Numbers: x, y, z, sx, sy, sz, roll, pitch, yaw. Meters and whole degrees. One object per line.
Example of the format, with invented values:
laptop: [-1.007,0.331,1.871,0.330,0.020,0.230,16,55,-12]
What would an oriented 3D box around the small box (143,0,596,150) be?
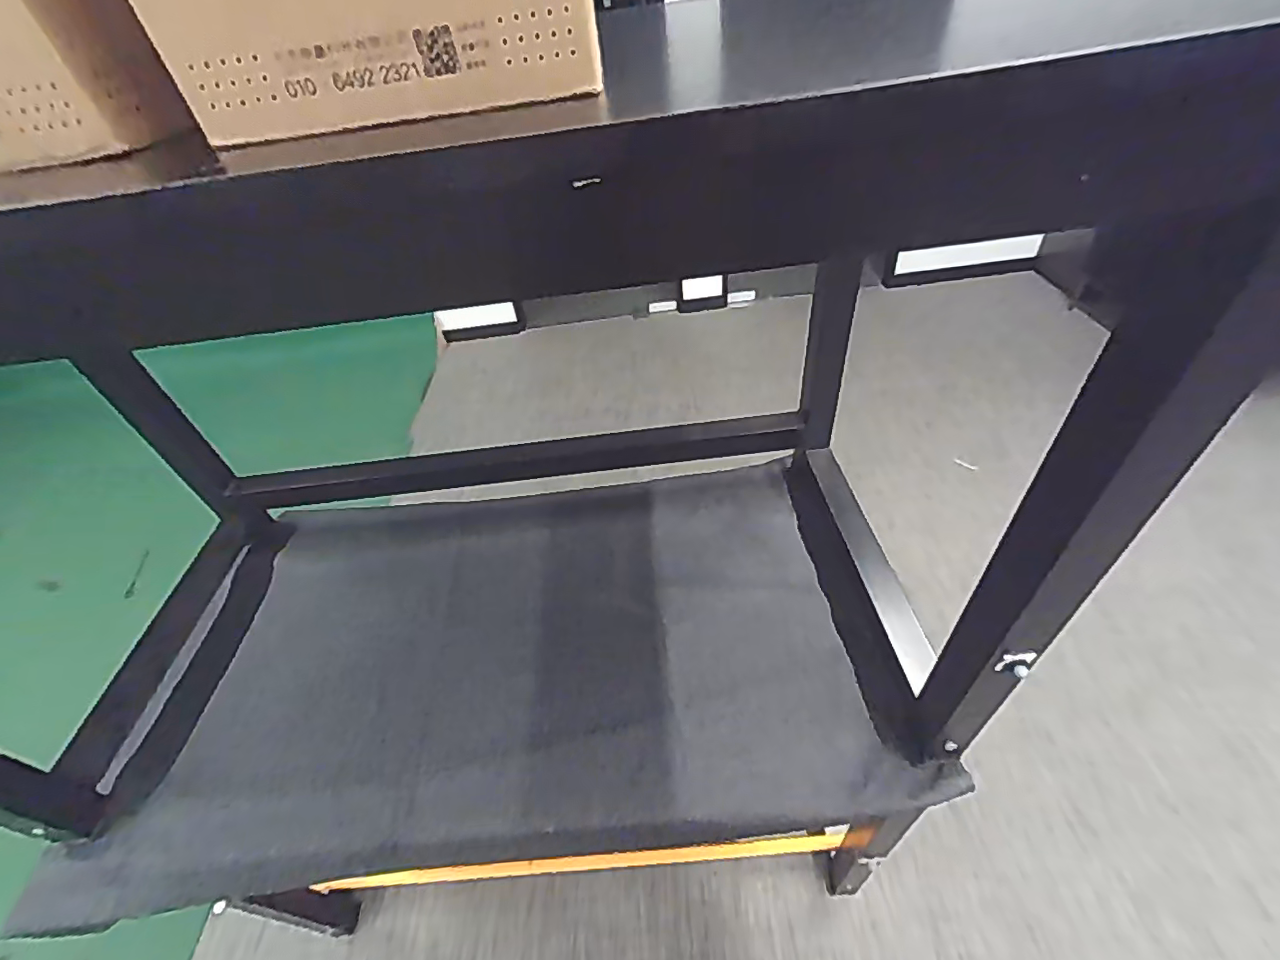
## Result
small box: [-0.112,-0.258,0.234,0.168,0.176,0.179,-7,43,1]
